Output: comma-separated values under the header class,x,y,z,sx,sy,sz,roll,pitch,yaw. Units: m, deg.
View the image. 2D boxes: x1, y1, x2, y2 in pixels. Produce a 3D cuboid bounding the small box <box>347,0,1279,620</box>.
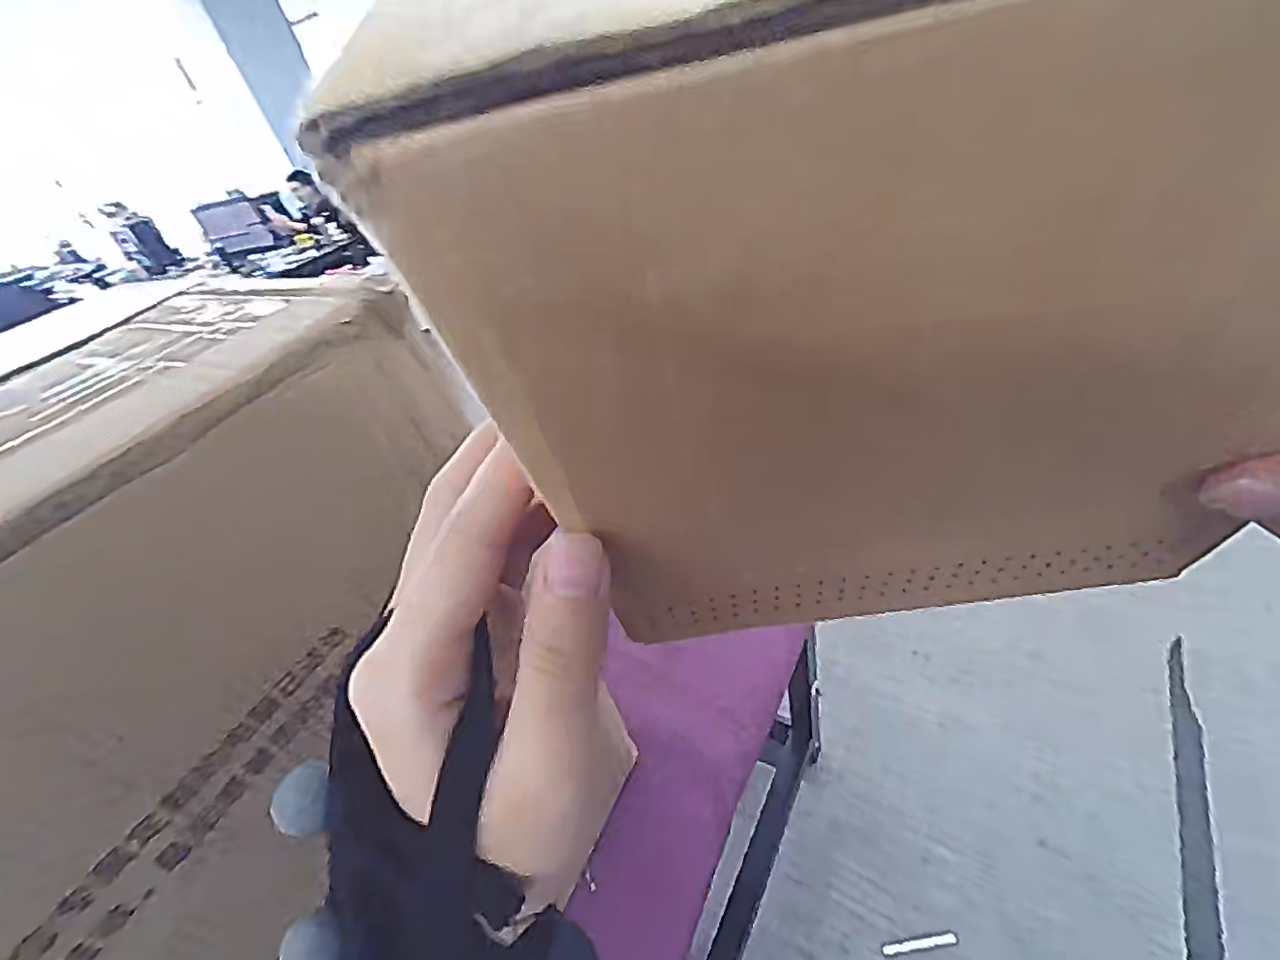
class,x,y,z,sx,sy,sz,roll,pitch,yaw
small box,0.061,-0.069,0.162,0.179,0.176,0.168,-9,55,6
